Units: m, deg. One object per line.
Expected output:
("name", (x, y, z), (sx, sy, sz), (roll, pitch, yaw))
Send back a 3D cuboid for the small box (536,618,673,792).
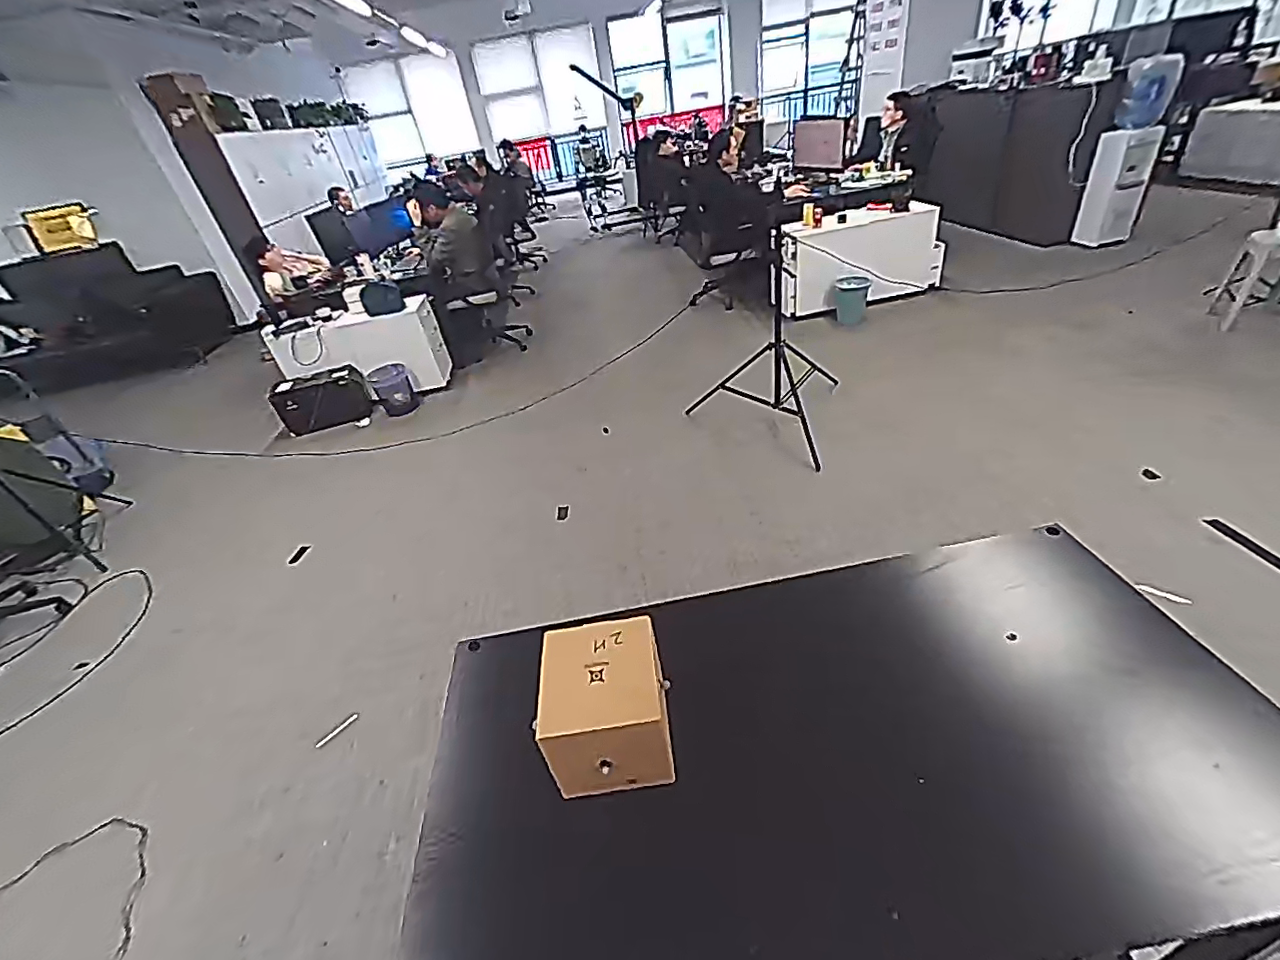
("small box", (-0.048, 0.340, 0.809), (0.168, 0.176, 0.179), (-10, 34, 1))
